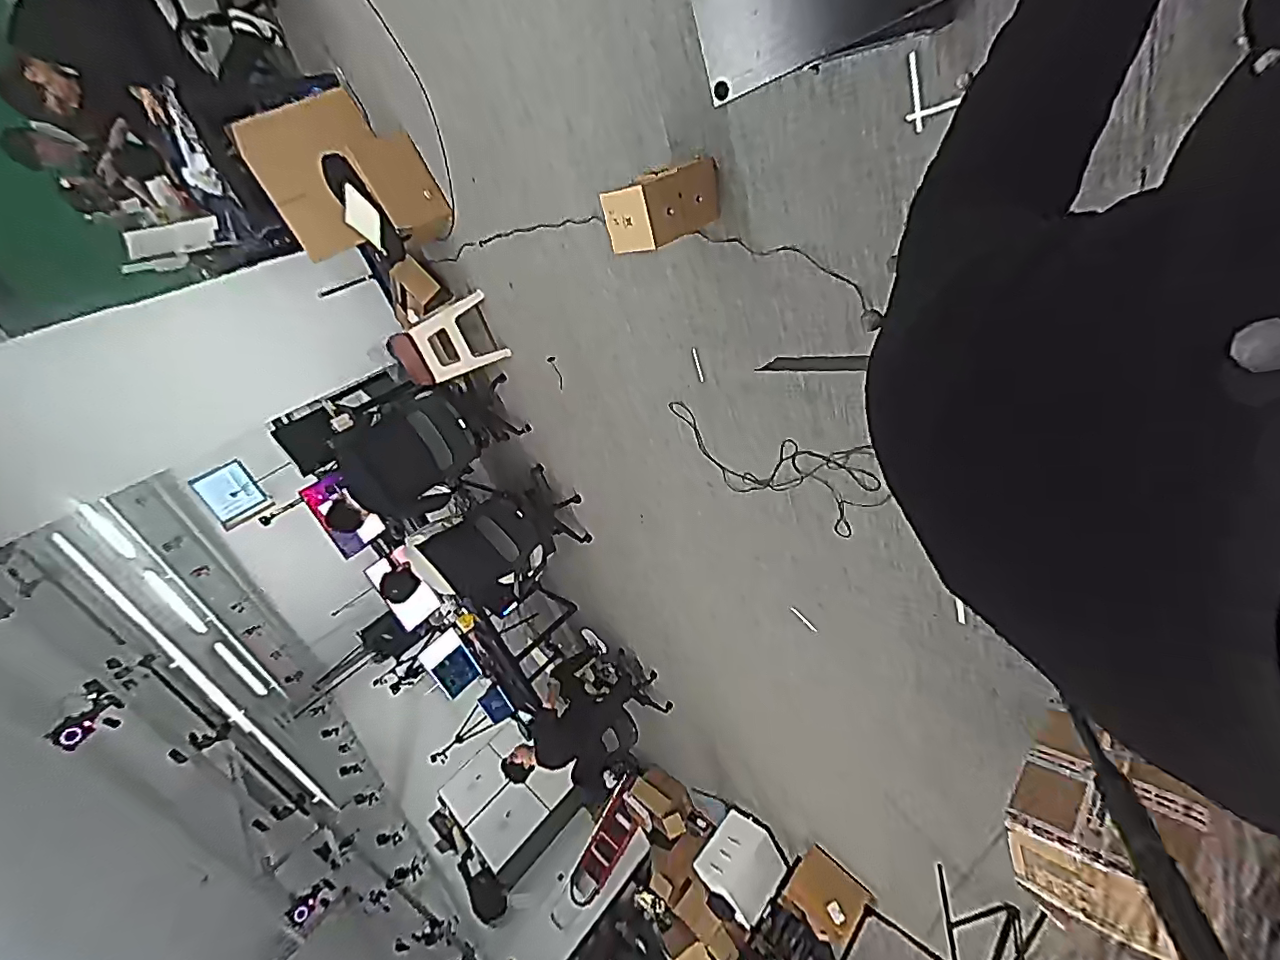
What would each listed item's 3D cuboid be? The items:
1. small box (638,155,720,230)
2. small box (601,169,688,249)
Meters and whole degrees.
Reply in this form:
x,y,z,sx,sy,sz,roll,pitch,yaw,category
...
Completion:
x,y,z,sx,sy,sz,roll,pitch,yaw,category
0.123,-0.875,1.649,0.168,0.176,0.179,21,138,41,small box
0.022,-0.781,1.560,0.179,0.176,0.168,18,134,43,small box
